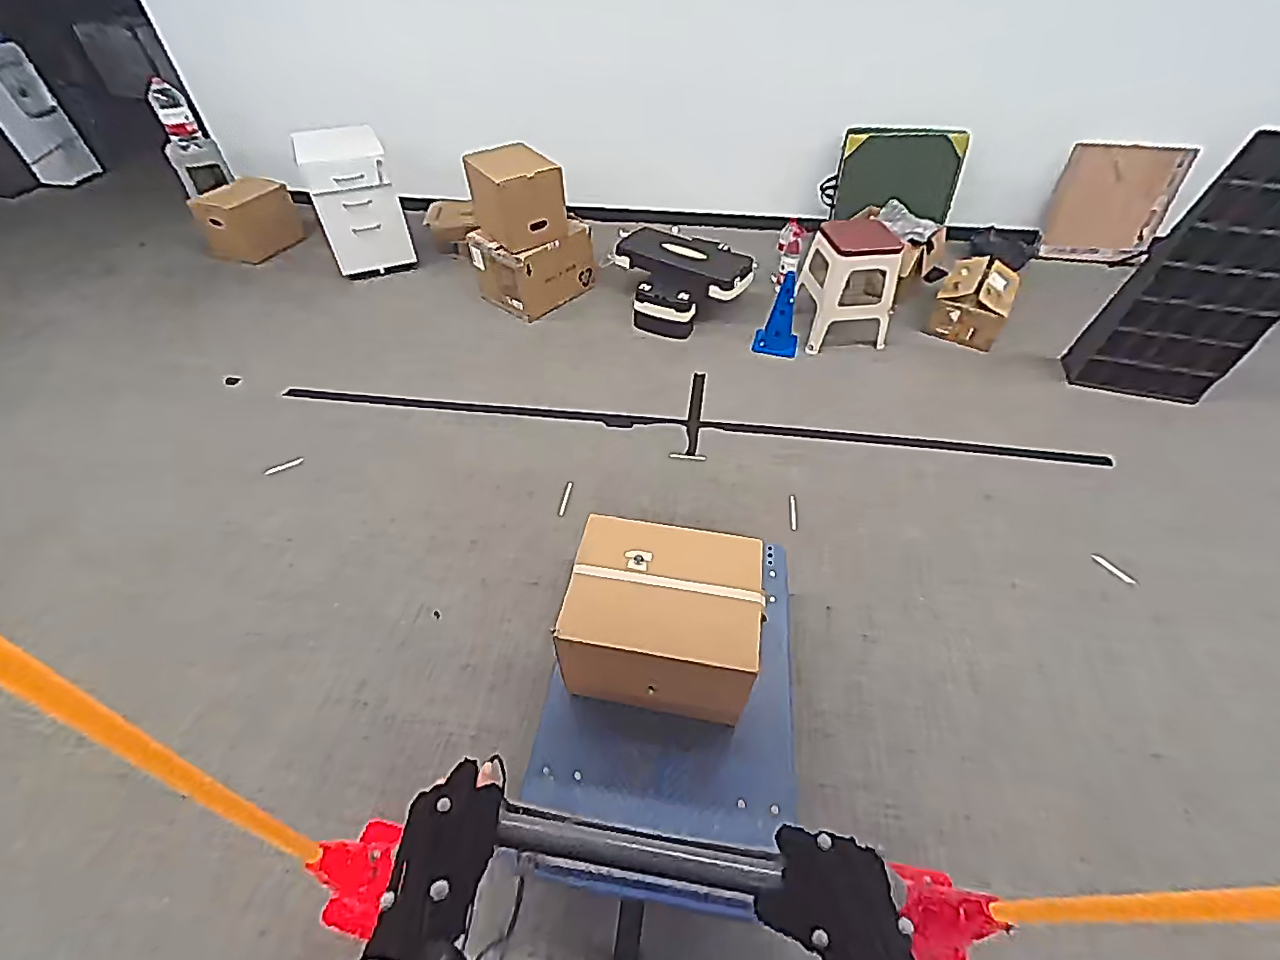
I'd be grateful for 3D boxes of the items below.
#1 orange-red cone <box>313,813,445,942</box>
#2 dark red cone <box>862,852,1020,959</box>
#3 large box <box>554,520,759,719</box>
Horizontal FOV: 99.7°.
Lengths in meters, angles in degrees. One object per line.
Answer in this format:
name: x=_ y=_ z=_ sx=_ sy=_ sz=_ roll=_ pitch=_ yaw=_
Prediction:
orange-red cone: x=-0.555 y=0.751 z=1.067 sx=0.198 sy=0.360 sz=0.199 roll=13 pitch=47 yaw=10
dark red cone: x=0.577 y=0.794 z=1.001 sx=0.201 sy=0.394 sz=0.202 roll=7 pitch=48 yaw=4
large box: x=0.052 y=0.326 z=1.257 sx=0.408 sy=0.320 sz=0.320 roll=8 pitch=49 yaw=8
